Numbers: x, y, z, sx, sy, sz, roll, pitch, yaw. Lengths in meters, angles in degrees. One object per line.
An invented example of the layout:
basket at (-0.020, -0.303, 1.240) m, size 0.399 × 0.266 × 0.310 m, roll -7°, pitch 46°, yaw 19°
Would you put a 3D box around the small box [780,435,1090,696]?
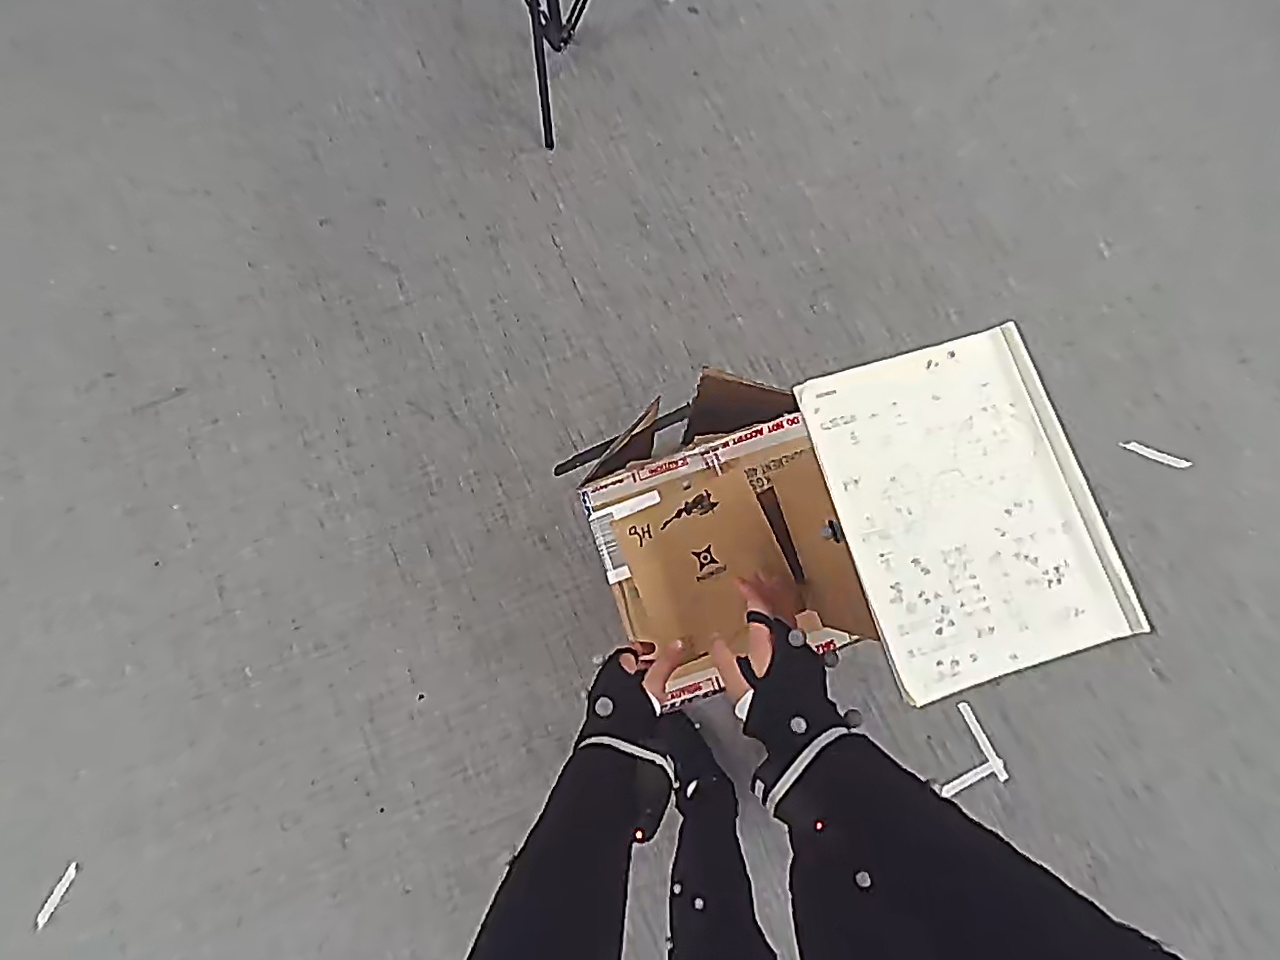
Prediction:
small box at (0.251, 0.077, 0.511) m, size 0.168 × 0.176 × 0.179 m, roll -16°, pitch 82°, yaw -5°
